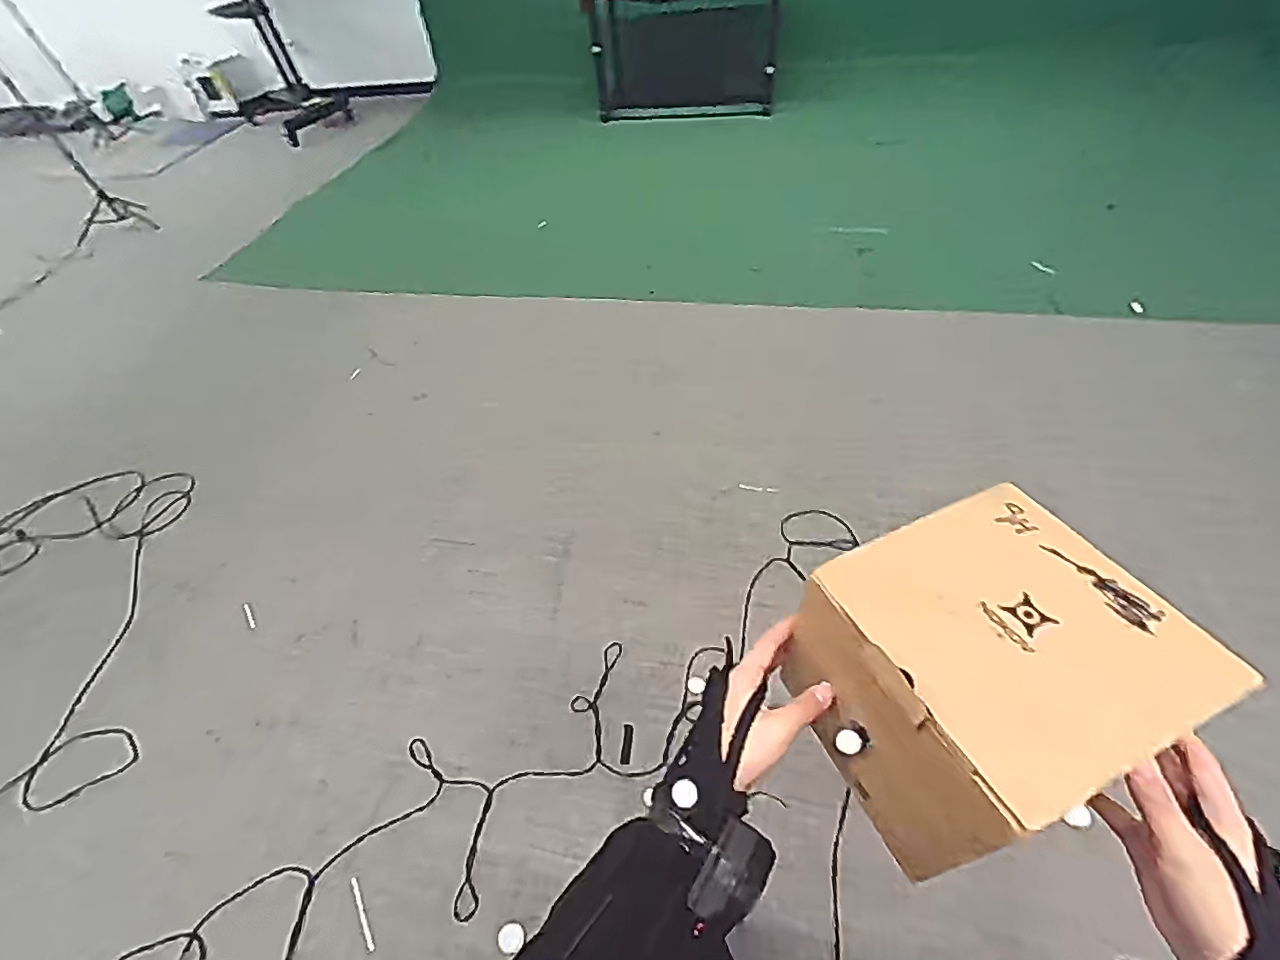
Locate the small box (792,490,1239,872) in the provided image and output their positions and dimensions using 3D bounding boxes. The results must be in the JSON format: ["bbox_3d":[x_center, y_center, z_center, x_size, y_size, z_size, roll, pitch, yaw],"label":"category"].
[{"bbox_3d":[0.225,0.143,0.385,0.179,0.176,0.168,-20,49,-13],"label":"small box"}]
